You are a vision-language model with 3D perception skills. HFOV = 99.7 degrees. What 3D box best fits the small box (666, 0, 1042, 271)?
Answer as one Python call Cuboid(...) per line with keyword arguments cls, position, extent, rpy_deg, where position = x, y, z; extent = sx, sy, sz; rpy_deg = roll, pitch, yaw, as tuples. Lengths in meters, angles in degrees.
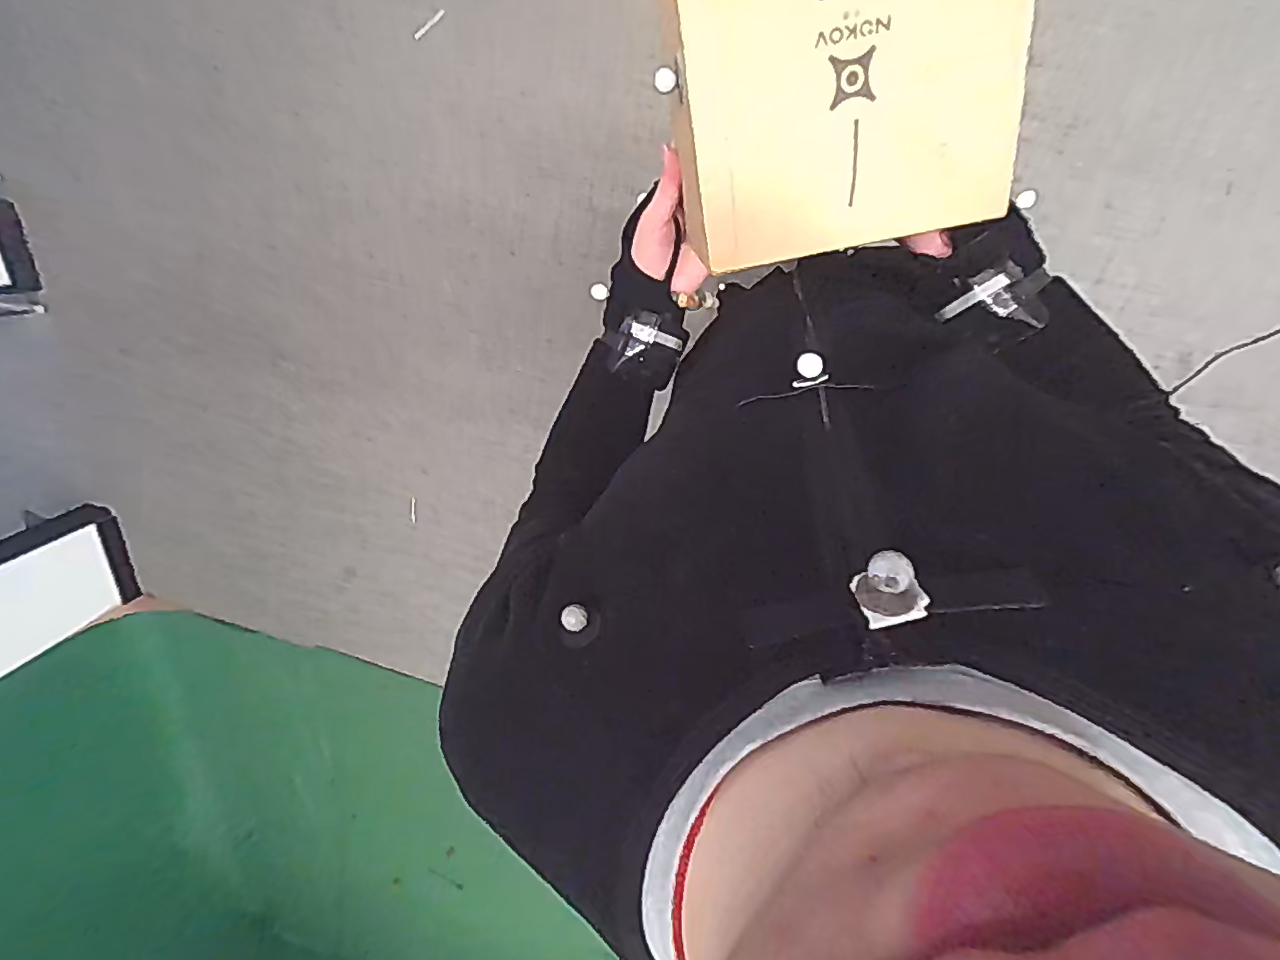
Cuboid(cls="small box", position=(0.110, -0.246, 0.336), extent=(0.168, 0.176, 0.179), rpy_deg=(-9, 120, 6))
